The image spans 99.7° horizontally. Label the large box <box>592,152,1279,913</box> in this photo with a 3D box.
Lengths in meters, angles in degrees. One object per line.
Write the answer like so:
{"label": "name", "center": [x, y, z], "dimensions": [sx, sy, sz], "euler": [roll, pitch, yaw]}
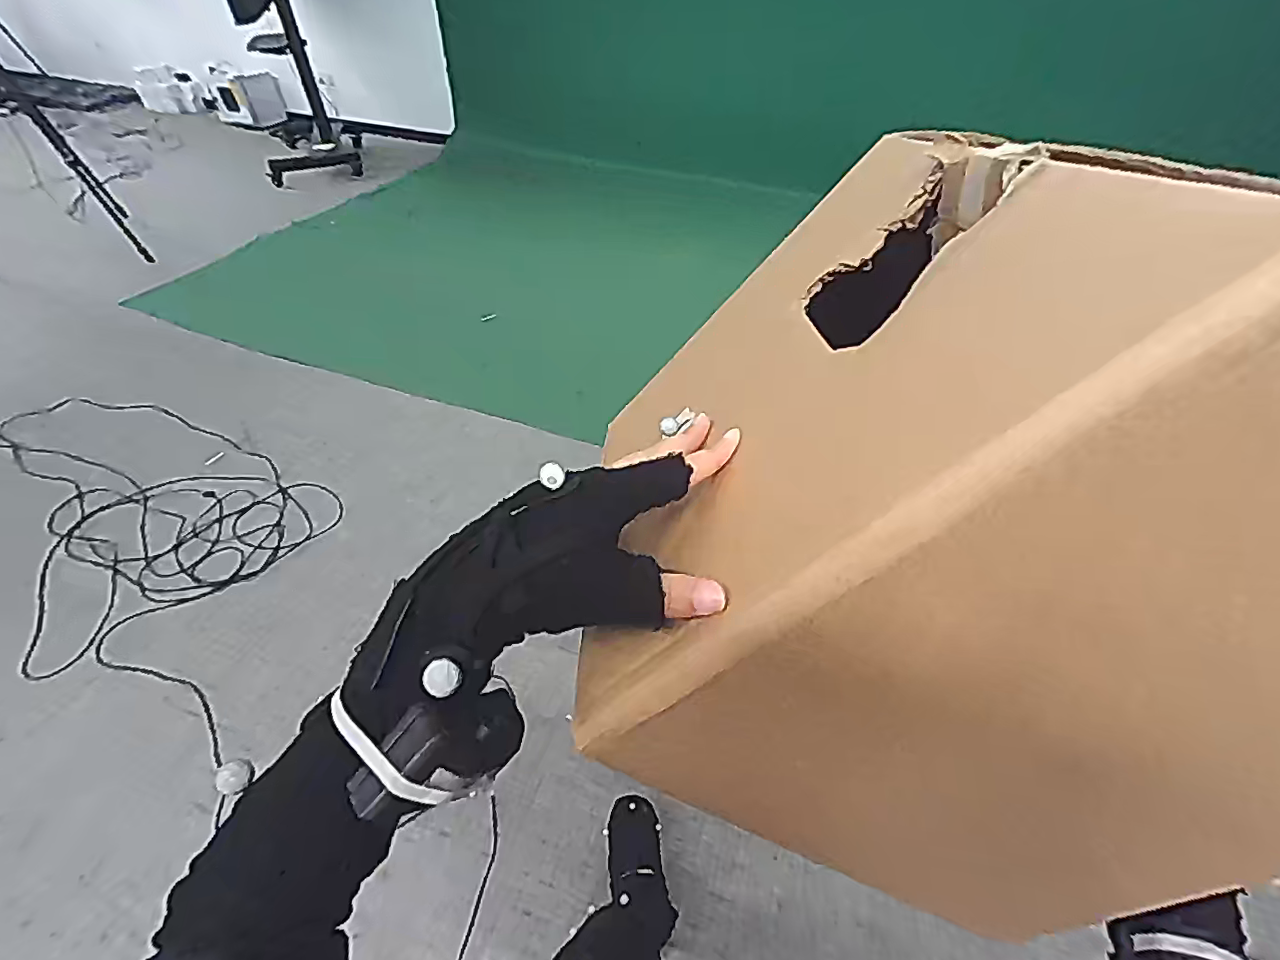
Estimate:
{"label": "large box", "center": [0.216, 0.050, 0.397], "dimensions": [0.408, 0.320, 0.320], "euler": [36, 29, -22]}
